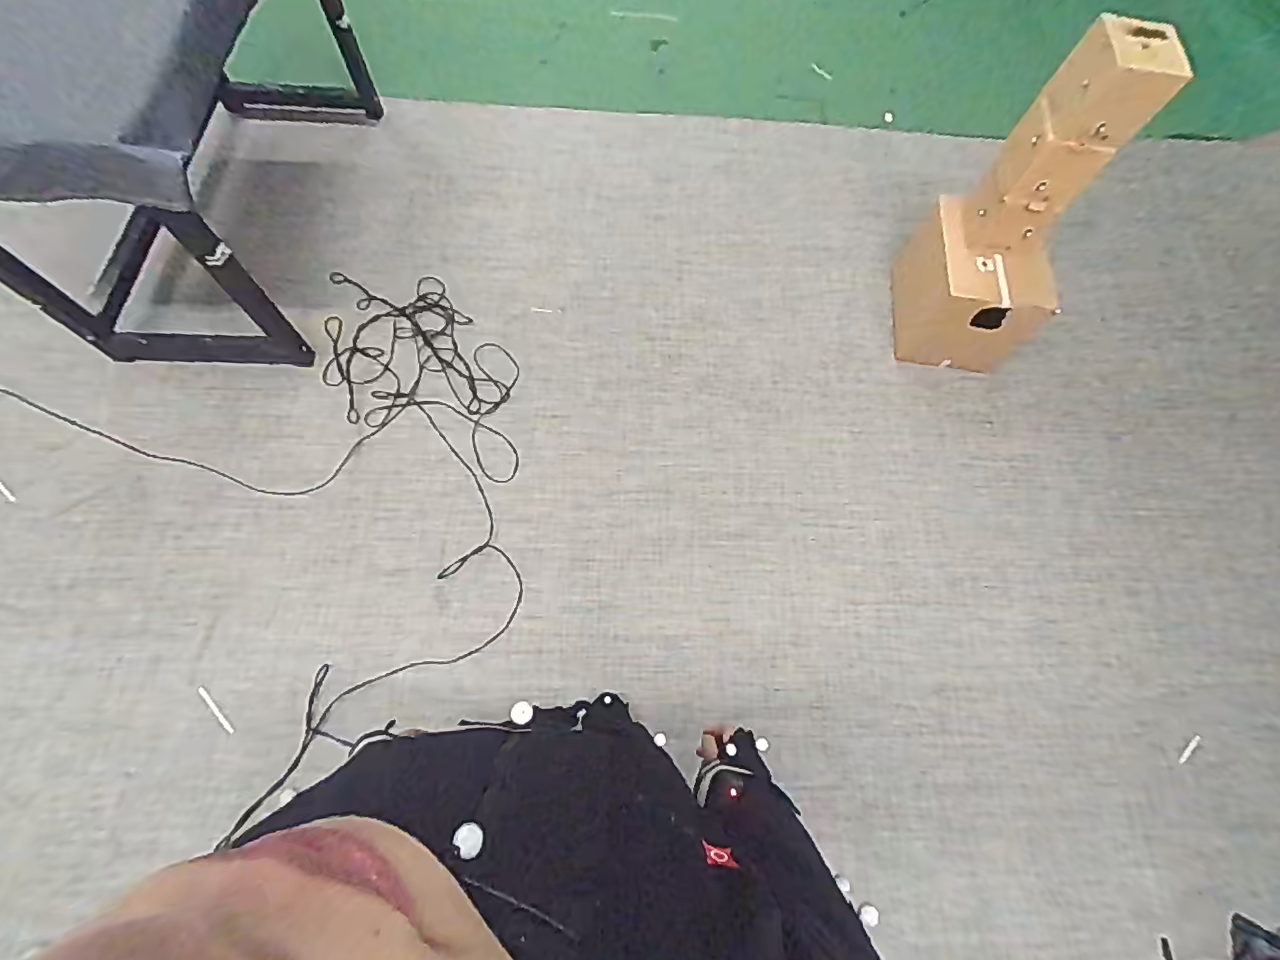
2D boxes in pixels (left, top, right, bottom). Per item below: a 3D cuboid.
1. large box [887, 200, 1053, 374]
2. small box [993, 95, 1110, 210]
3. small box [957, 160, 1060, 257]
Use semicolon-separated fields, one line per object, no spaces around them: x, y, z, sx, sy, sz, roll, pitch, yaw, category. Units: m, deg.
1.022;-0.606;1.726;0.320;0.320;0.408;7;68;0;large box
1.036;-0.830;1.381;0.168;0.176;0.179;10;68;-1;small box
1.032;-0.762;1.529;0.168;0.176;0.179;8;67;-2;small box
